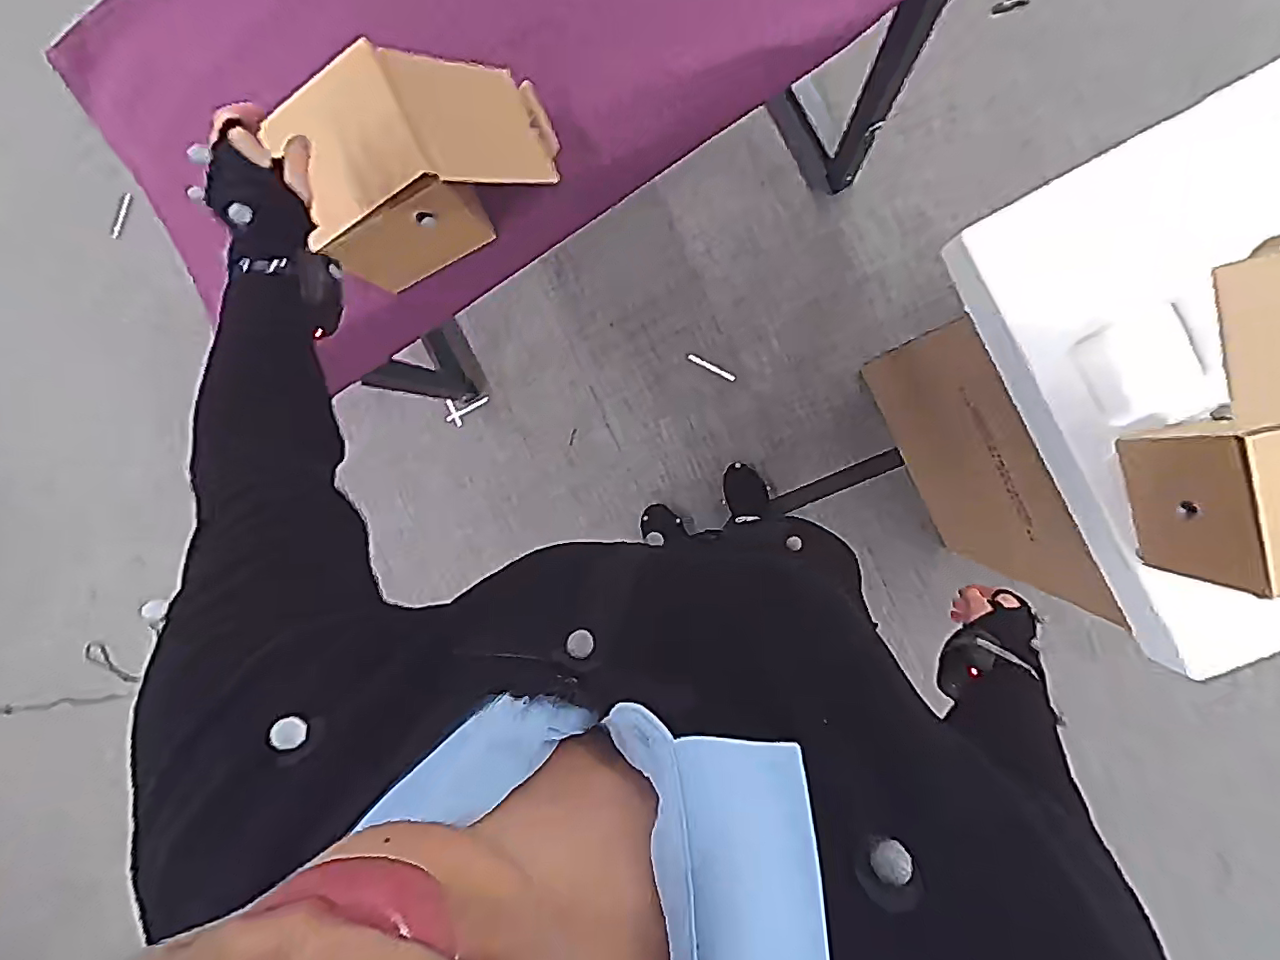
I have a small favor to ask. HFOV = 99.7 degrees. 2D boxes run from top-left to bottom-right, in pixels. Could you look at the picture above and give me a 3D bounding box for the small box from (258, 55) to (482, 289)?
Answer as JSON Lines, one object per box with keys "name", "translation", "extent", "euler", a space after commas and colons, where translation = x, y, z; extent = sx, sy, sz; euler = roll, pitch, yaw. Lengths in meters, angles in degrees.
{"name": "small box", "translation": [-0.327, -0.376, 0.698], "extent": [0.179, 0.176, 0.168], "euler": [-25, 89, 8]}
